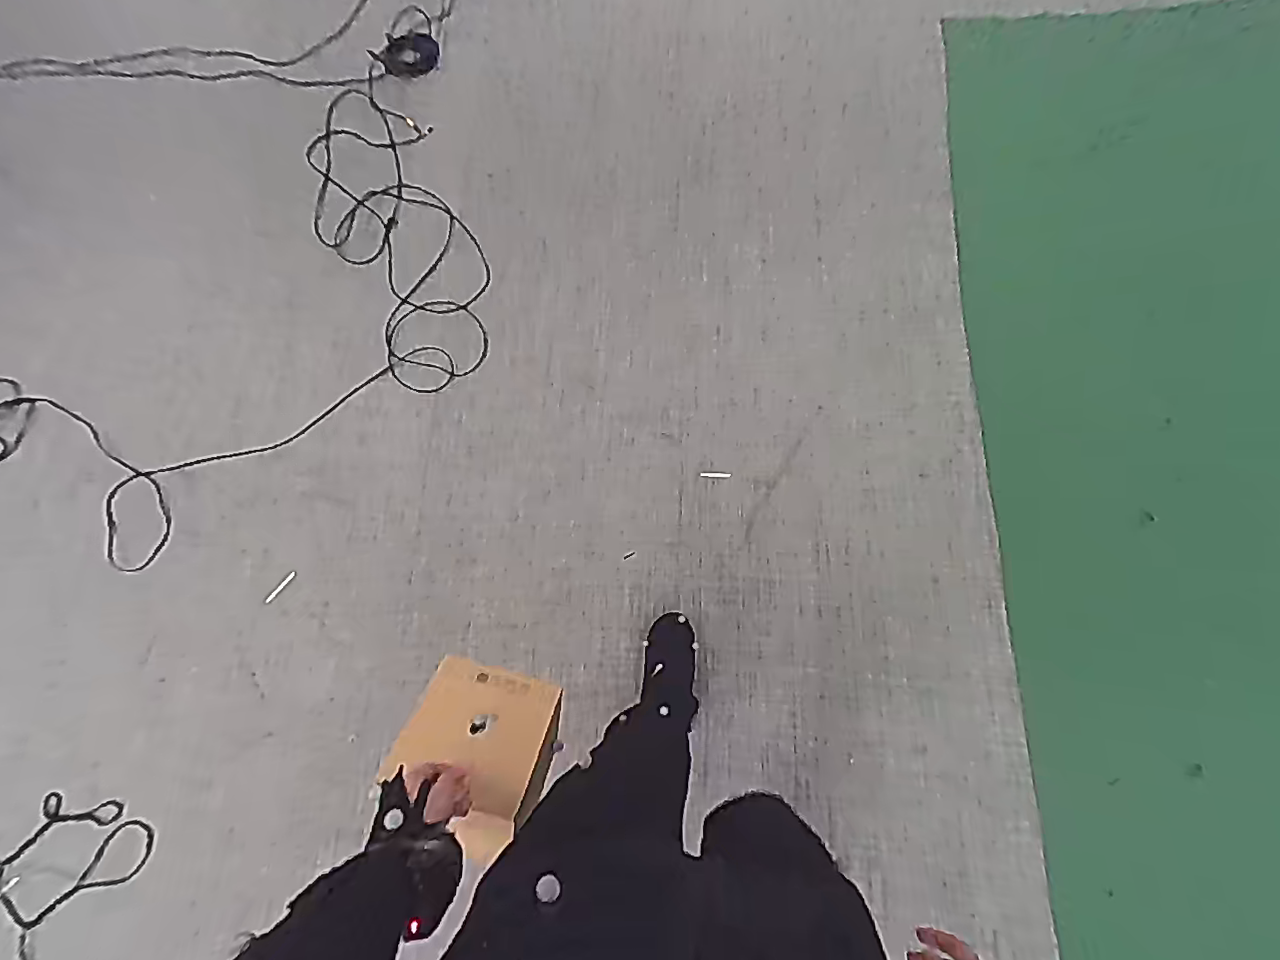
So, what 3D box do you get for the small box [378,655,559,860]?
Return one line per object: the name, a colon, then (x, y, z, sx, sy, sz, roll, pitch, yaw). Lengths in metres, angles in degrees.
small box: (-0.211, 0.358, 0.709, 0.168, 0.179, 0.176, 14, 40, 3)
